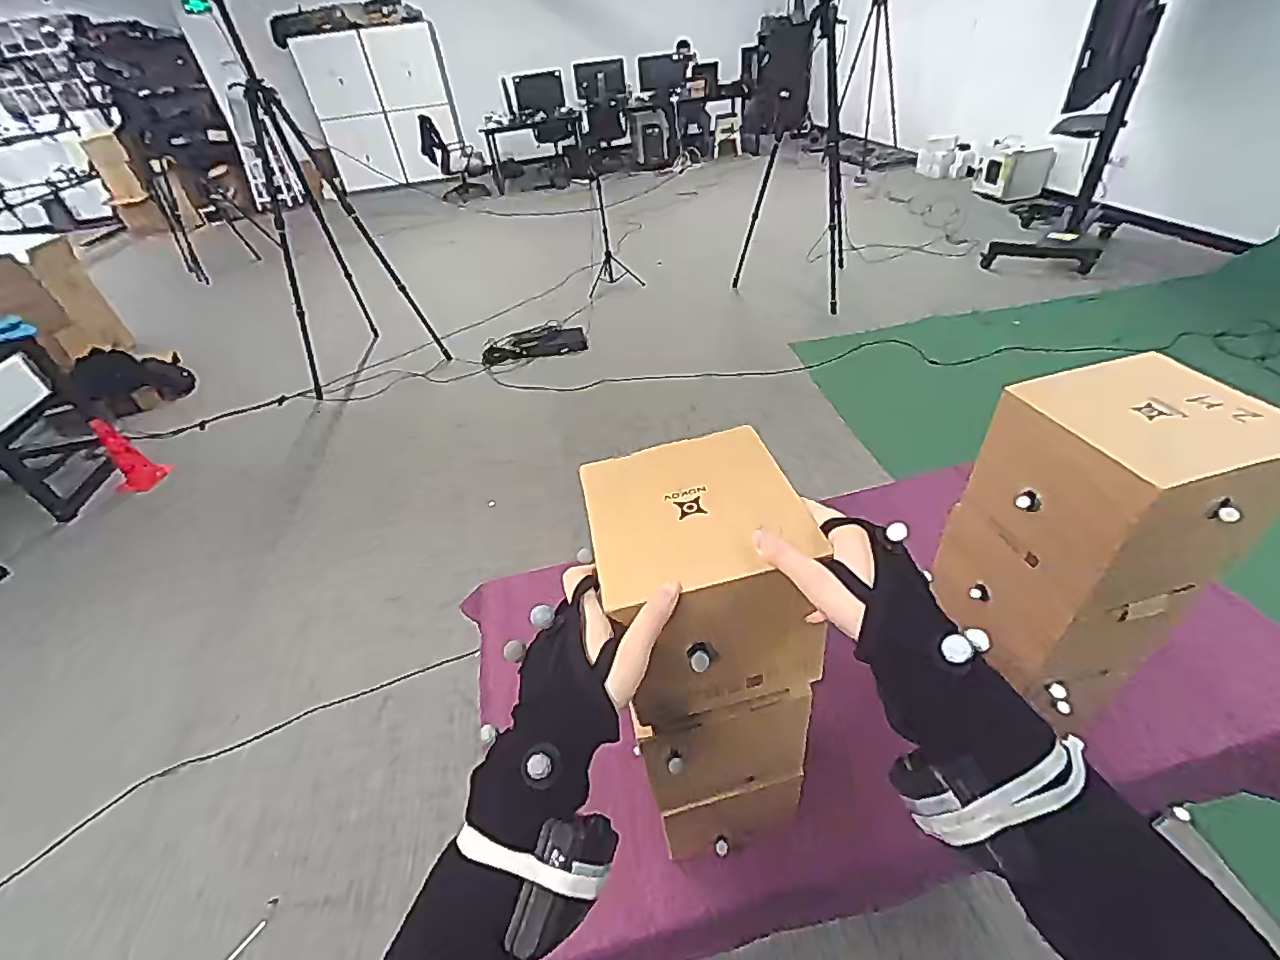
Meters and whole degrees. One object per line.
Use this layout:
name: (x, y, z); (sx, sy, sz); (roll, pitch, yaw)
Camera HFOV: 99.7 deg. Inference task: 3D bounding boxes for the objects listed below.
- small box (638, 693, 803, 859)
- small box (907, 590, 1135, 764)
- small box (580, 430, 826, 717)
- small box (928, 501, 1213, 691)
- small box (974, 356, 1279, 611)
small box: (0.093, 0.351, 0.702); (0.168, 0.176, 0.179); (-13, 41, -5)
small box: (0.499, 0.252, 0.746); (0.168, 0.176, 0.179); (-14, 39, -5)
small box: (0.052, 0.086, 0.484); (0.168, 0.176, 0.179); (-14, 38, -3)
small box: (0.481, 0.126, 0.641); (0.168, 0.176, 0.179); (-13, 40, -6)
small box: (0.465, 0.004, 0.532); (0.179, 0.176, 0.168); (-13, 41, -6)
